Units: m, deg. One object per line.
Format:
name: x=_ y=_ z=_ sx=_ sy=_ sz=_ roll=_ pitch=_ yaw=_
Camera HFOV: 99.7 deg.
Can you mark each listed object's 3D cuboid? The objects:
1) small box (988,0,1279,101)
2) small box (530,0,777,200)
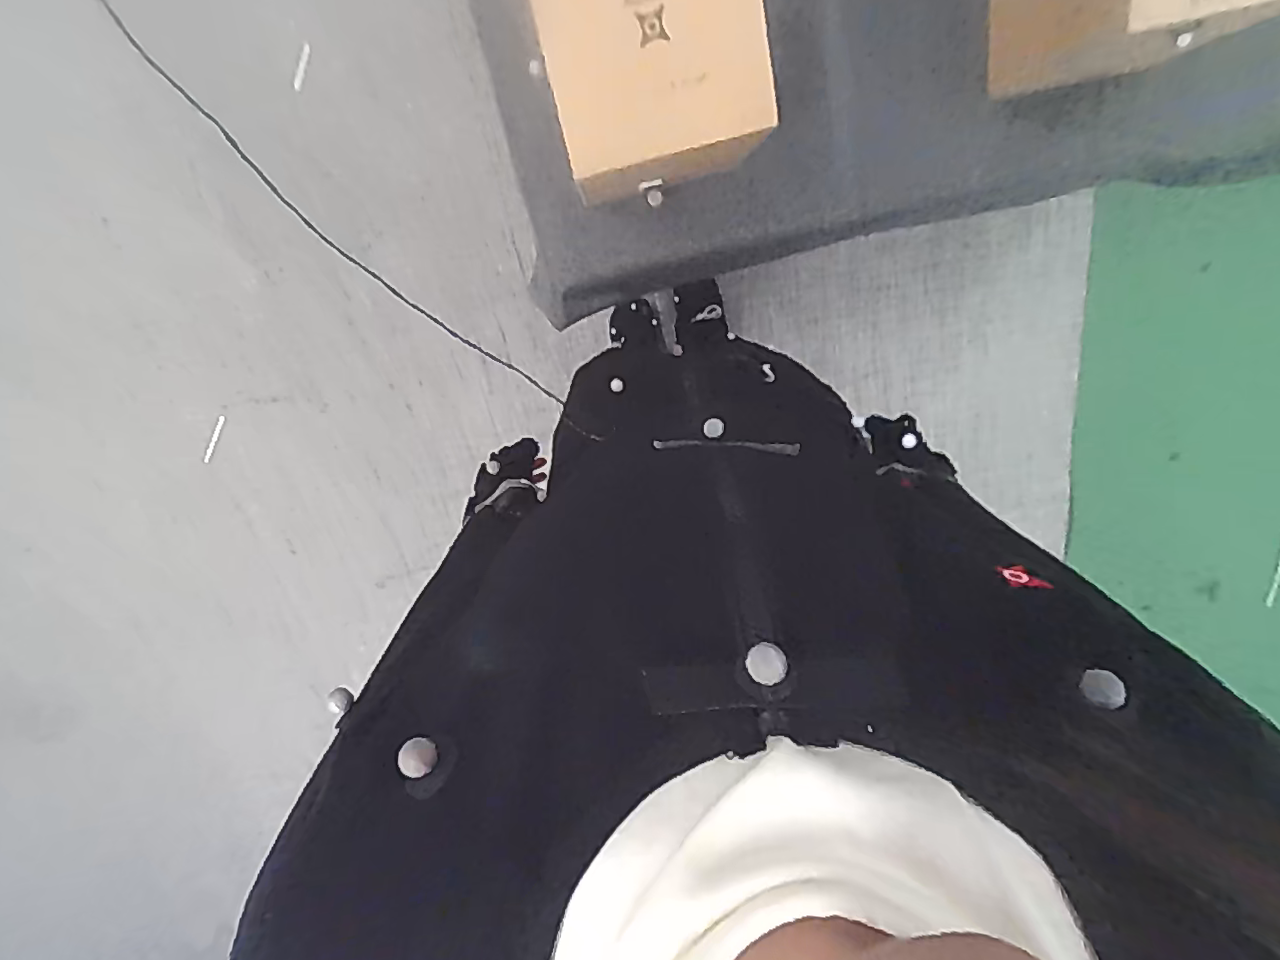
small box: x=0.422 y=-0.456 z=0.450 sx=0.168 sy=0.176 sz=0.179 roll=-11 pitch=110 yaw=2
small box: x=0.005 y=-0.354 z=0.448 sx=0.168 sy=0.176 sz=0.179 roll=-11 pitch=110 yaw=3
